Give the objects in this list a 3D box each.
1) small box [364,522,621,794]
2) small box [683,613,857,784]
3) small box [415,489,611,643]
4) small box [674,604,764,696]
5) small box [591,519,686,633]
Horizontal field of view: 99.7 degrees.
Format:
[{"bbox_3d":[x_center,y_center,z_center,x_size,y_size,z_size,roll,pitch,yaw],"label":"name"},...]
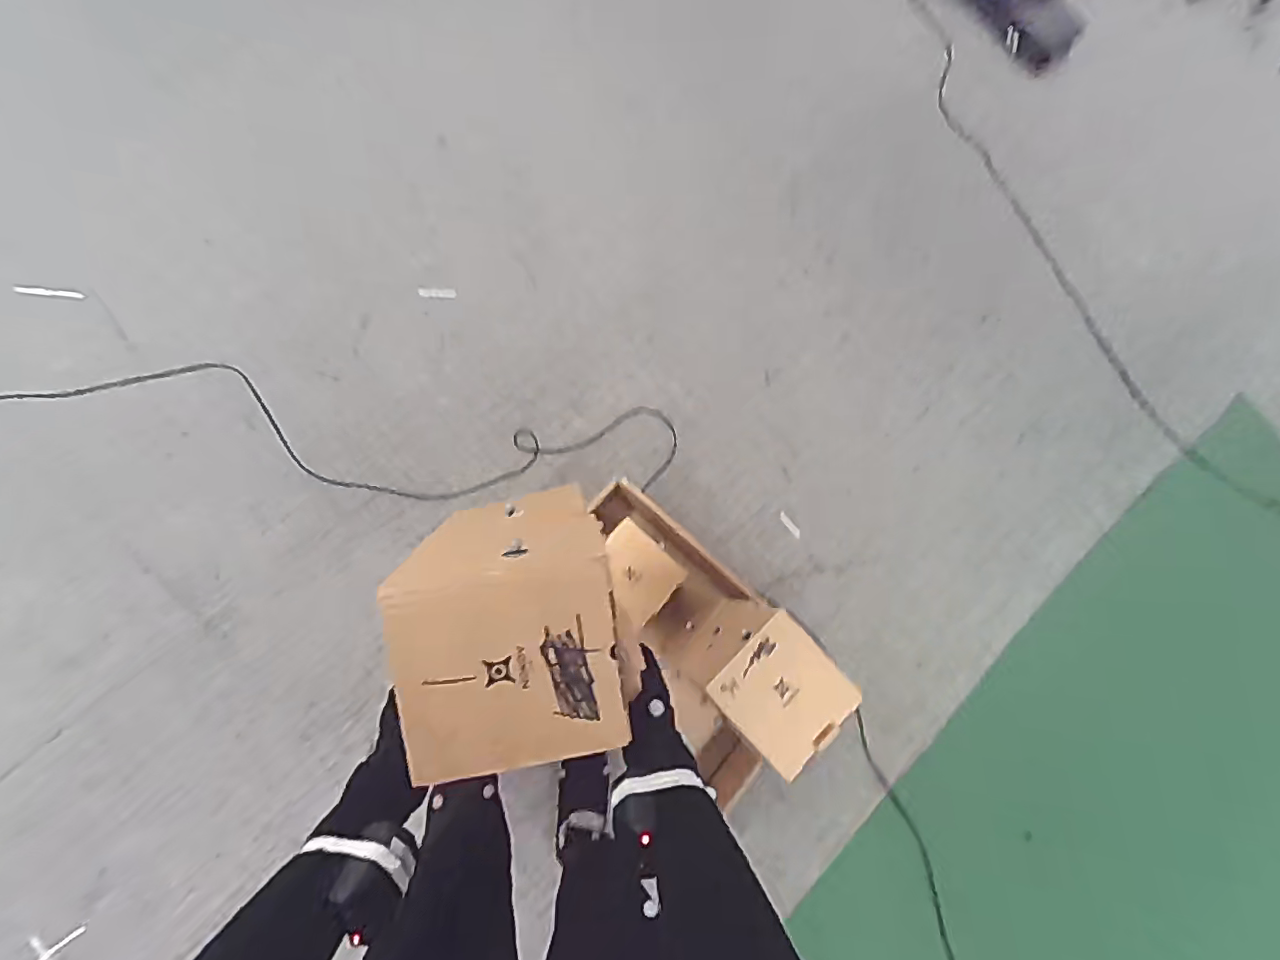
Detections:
[{"bbox_3d":[-0.122,0.143,0.500,0.179,0.176,0.168,-9,99,-7],"label":"small box"},{"bbox_3d":[0.192,0.324,0.848,0.168,0.176,0.179,-41,85,-13],"label":"small box"},{"bbox_3d":[-0.147,0.117,0.661,0.179,0.176,0.168,-15,100,-7],"label":"small box"},{"bbox_3d":[0.183,0.349,1.012,0.168,0.176,0.179,44,77,4],"label":"small box"},{"bbox_3d":[-0.030,0.210,1.183,0.179,0.176,0.168,43,78,1],"label":"small box"}]
